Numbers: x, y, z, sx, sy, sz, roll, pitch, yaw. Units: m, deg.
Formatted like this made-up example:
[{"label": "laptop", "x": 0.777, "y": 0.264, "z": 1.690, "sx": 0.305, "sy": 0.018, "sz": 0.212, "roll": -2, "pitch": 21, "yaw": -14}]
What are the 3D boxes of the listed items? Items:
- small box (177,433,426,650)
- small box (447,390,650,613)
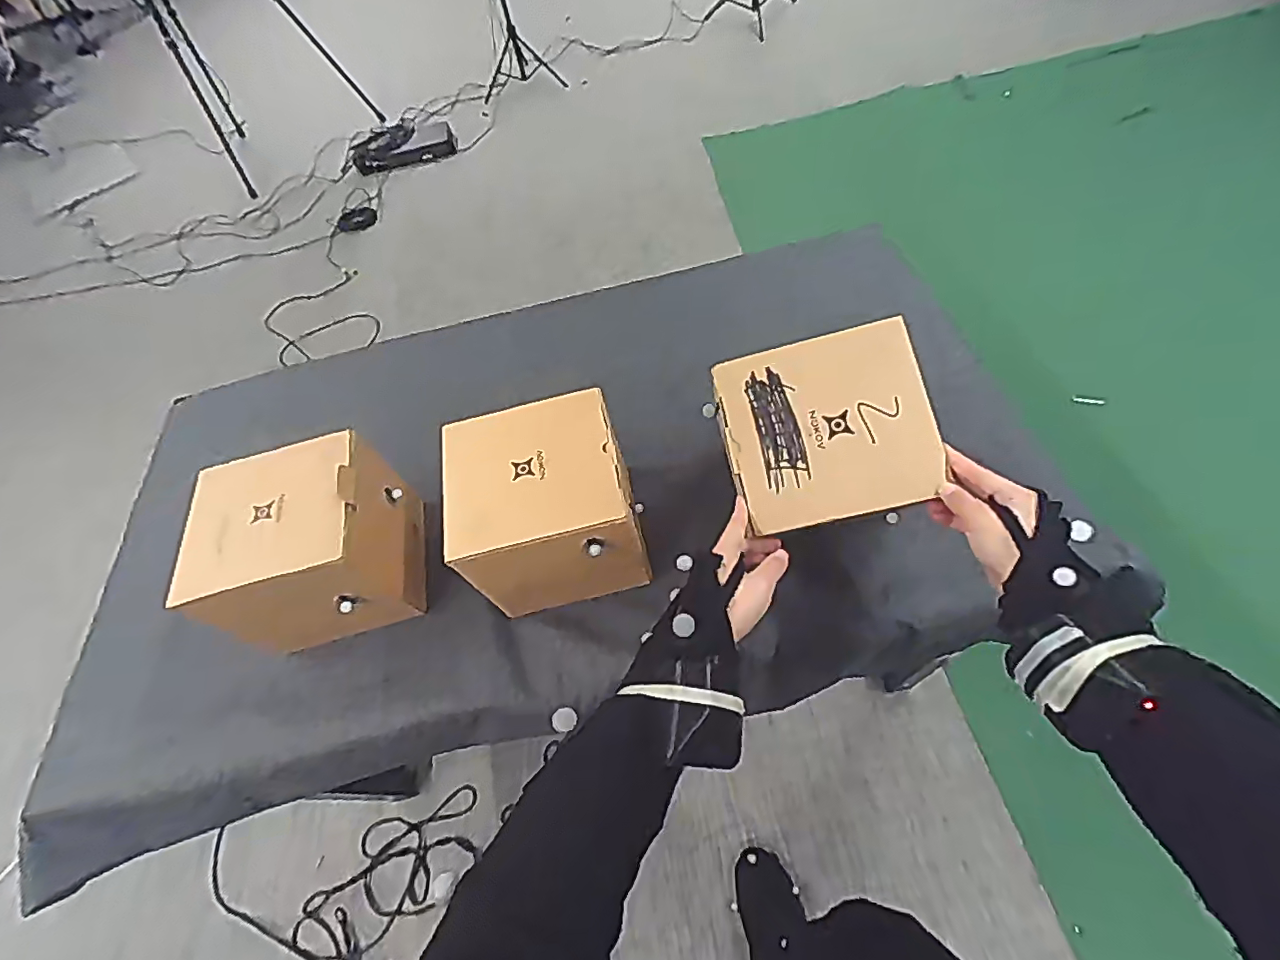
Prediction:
[{"label": "small box", "x": -0.364, "y": 0.077, "z": 0.624, "sx": 0.179, "sy": 0.176, "sz": 0.168, "roll": -17, "pitch": 56, "yaw": 0}, {"label": "small box", "x": -0.097, "y": 0.032, "z": 0.607, "sx": 0.179, "sy": 0.176, "sz": 0.168, "roll": -14, "pitch": 57, "yaw": 0}]
